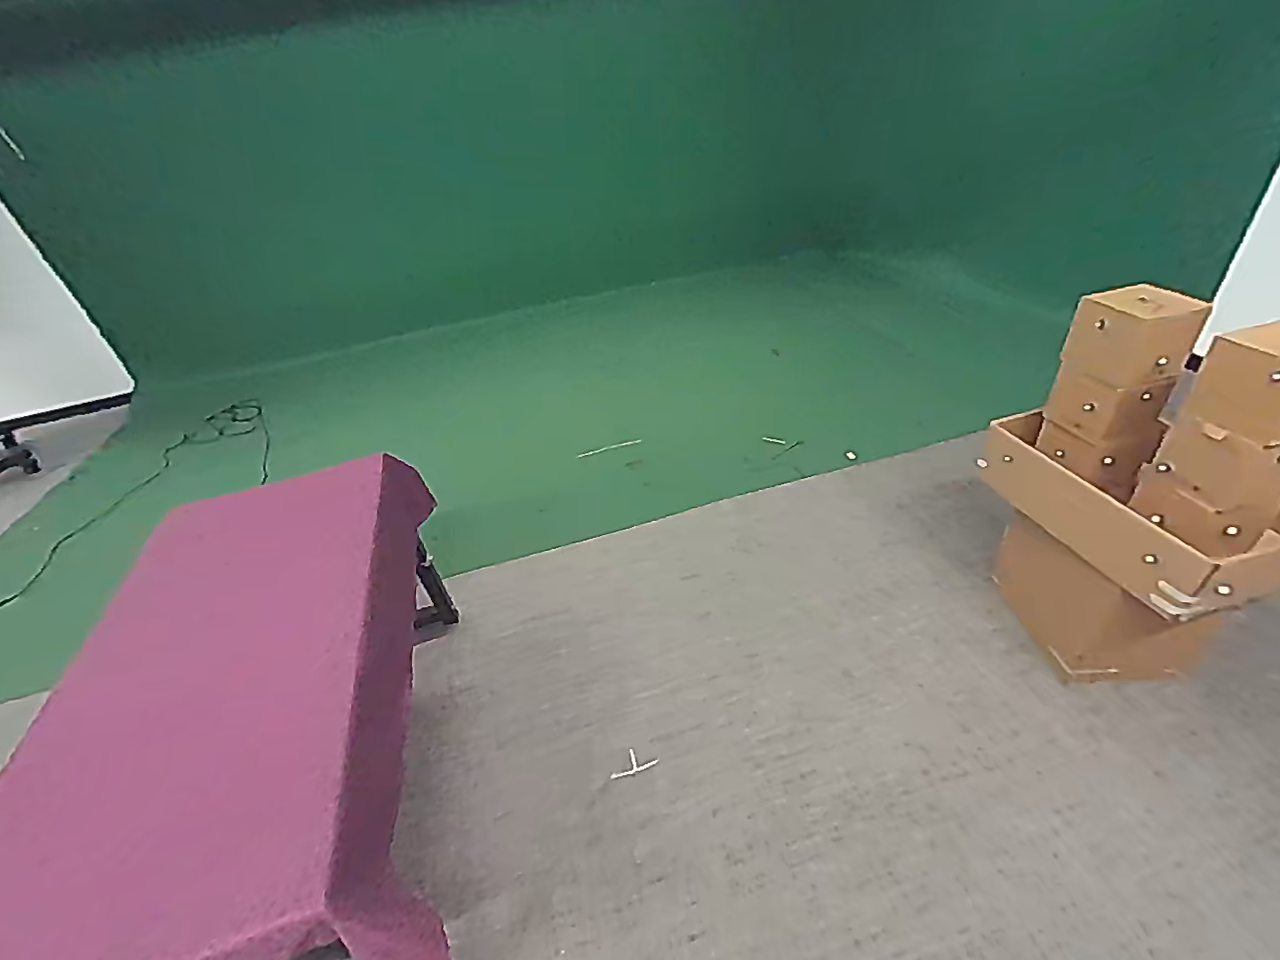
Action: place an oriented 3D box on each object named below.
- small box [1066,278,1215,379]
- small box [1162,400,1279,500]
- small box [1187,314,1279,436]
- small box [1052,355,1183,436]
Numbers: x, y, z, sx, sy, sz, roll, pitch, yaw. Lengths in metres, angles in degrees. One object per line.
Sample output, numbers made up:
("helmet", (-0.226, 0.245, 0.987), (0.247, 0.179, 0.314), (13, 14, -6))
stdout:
("small box", (1.170, -0.359, 1.285), (0.168, 0.176, 0.179), (-13, 37, -2))
("small box", (1.280, -0.076, 1.154), (0.179, 0.176, 0.168), (-13, 36, -4))
("small box", (1.256, -0.209, 1.062), (0.168, 0.176, 0.179), (-14, 37, -4))
("small box", (1.203, -0.231, 1.383), (0.179, 0.176, 0.168), (-14, 37, -5))
